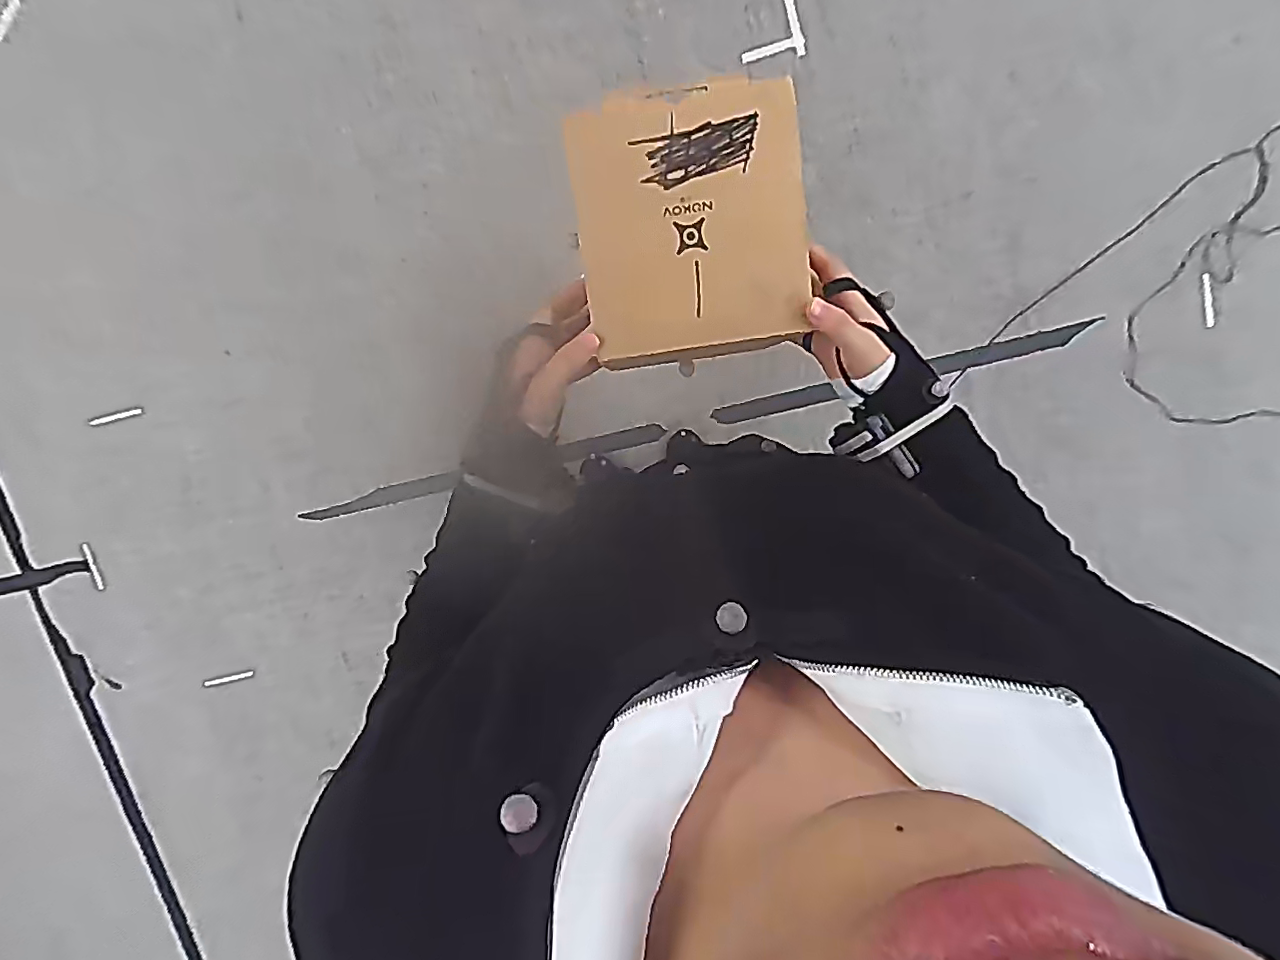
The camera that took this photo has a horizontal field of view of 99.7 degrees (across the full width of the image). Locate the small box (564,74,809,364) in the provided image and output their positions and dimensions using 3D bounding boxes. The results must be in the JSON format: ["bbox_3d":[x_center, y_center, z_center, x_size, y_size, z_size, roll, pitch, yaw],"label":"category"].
[{"bbox_3d":[0.035,-0.203,0.471,0.168,0.176,0.179,-8,100,2],"label":"small box"}]
